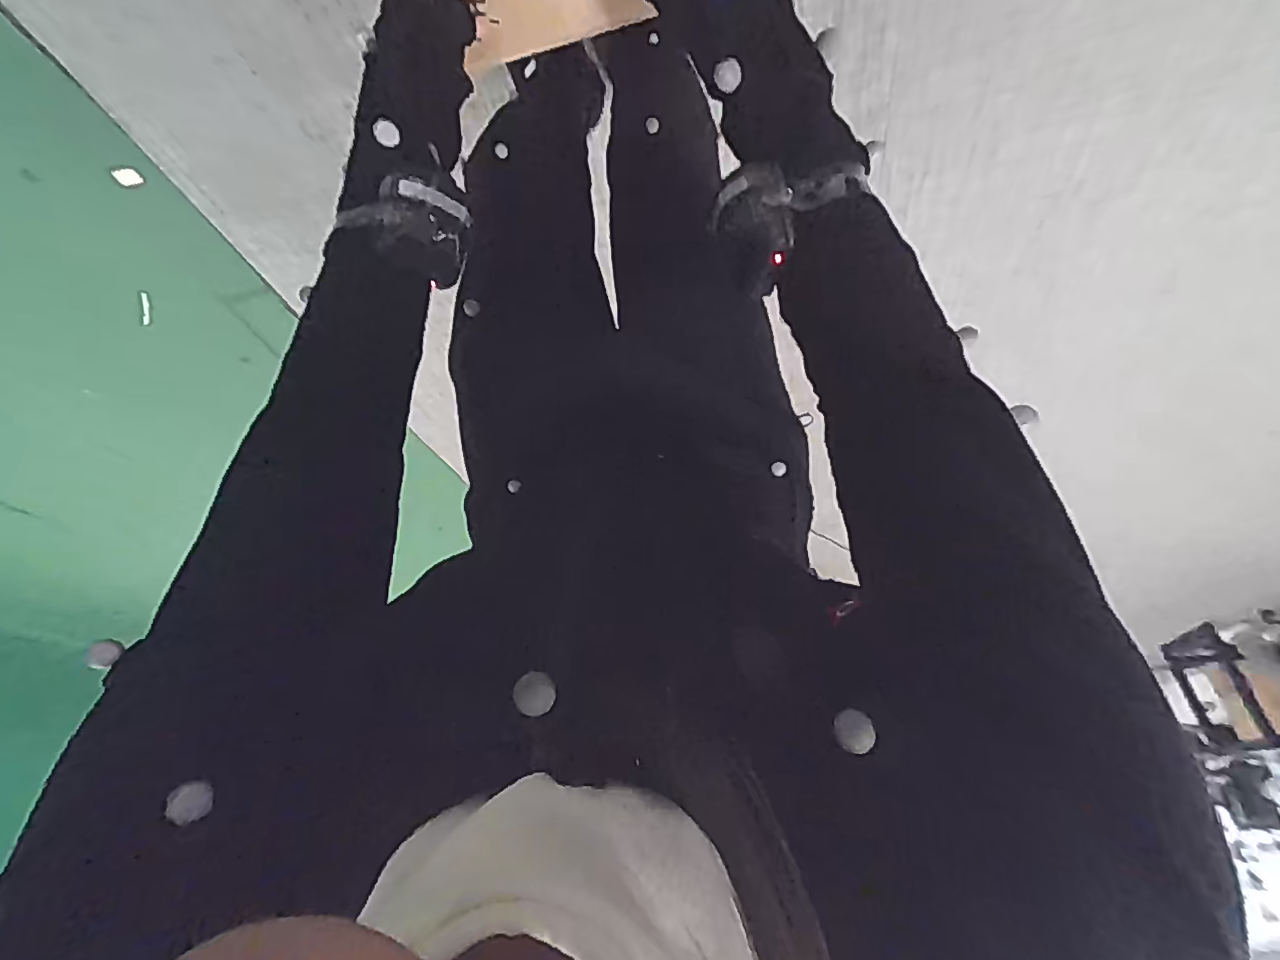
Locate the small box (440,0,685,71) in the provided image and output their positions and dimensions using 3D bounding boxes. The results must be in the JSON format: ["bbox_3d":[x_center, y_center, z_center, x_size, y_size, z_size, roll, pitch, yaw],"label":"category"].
[{"bbox_3d":[-0.070,-0.442,0.401,0.179,0.176,0.168,-9,136,9],"label":"small box"}]
